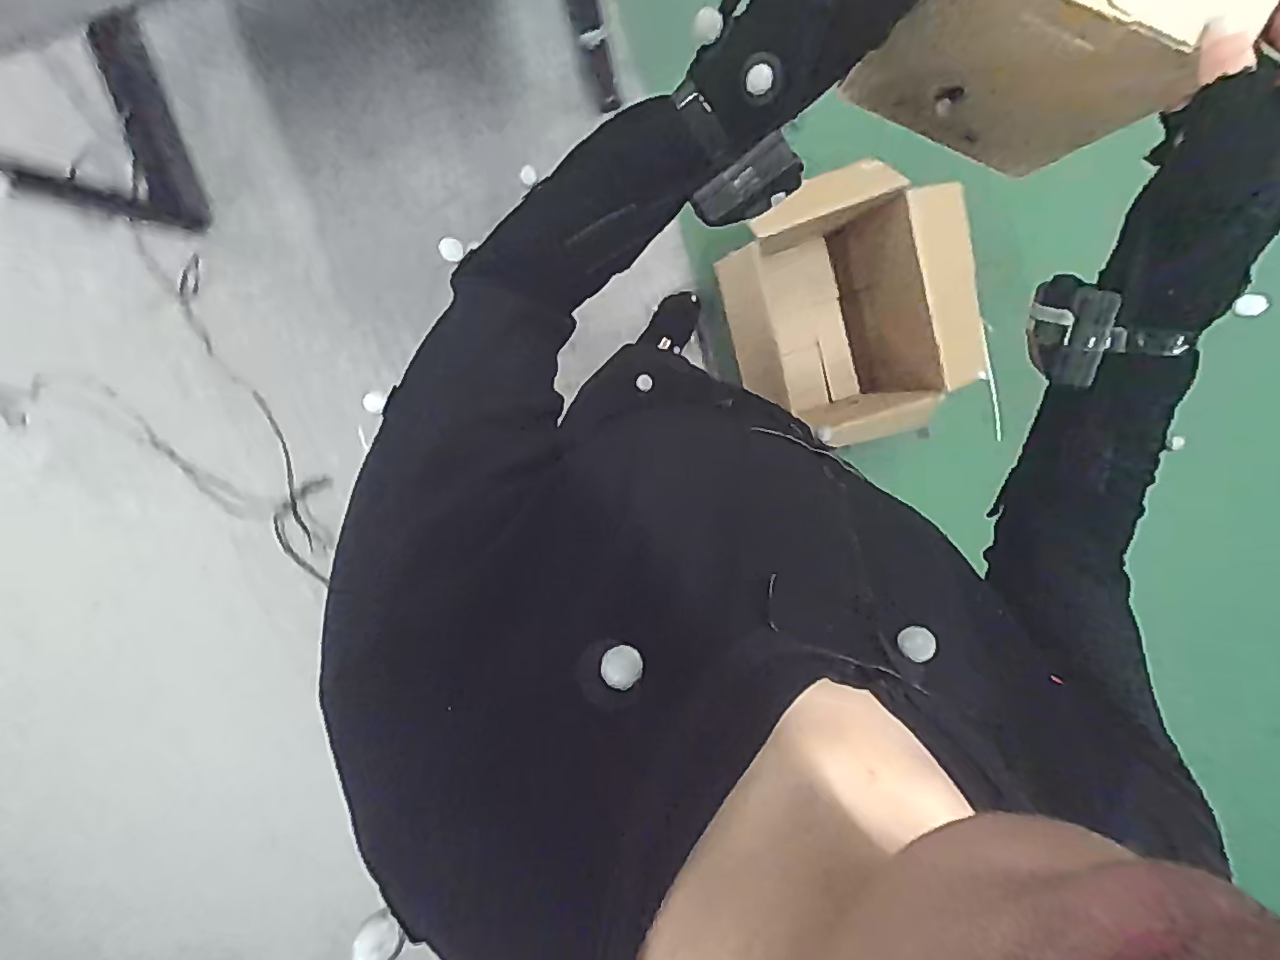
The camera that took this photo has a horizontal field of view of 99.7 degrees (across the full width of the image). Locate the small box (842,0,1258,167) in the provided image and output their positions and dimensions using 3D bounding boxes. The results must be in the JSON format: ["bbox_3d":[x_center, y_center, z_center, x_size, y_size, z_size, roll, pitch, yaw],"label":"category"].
[{"bbox_3d":[0.250,-0.333,0.329,0.168,0.176,0.179,21,104,-3],"label":"small box"}]
